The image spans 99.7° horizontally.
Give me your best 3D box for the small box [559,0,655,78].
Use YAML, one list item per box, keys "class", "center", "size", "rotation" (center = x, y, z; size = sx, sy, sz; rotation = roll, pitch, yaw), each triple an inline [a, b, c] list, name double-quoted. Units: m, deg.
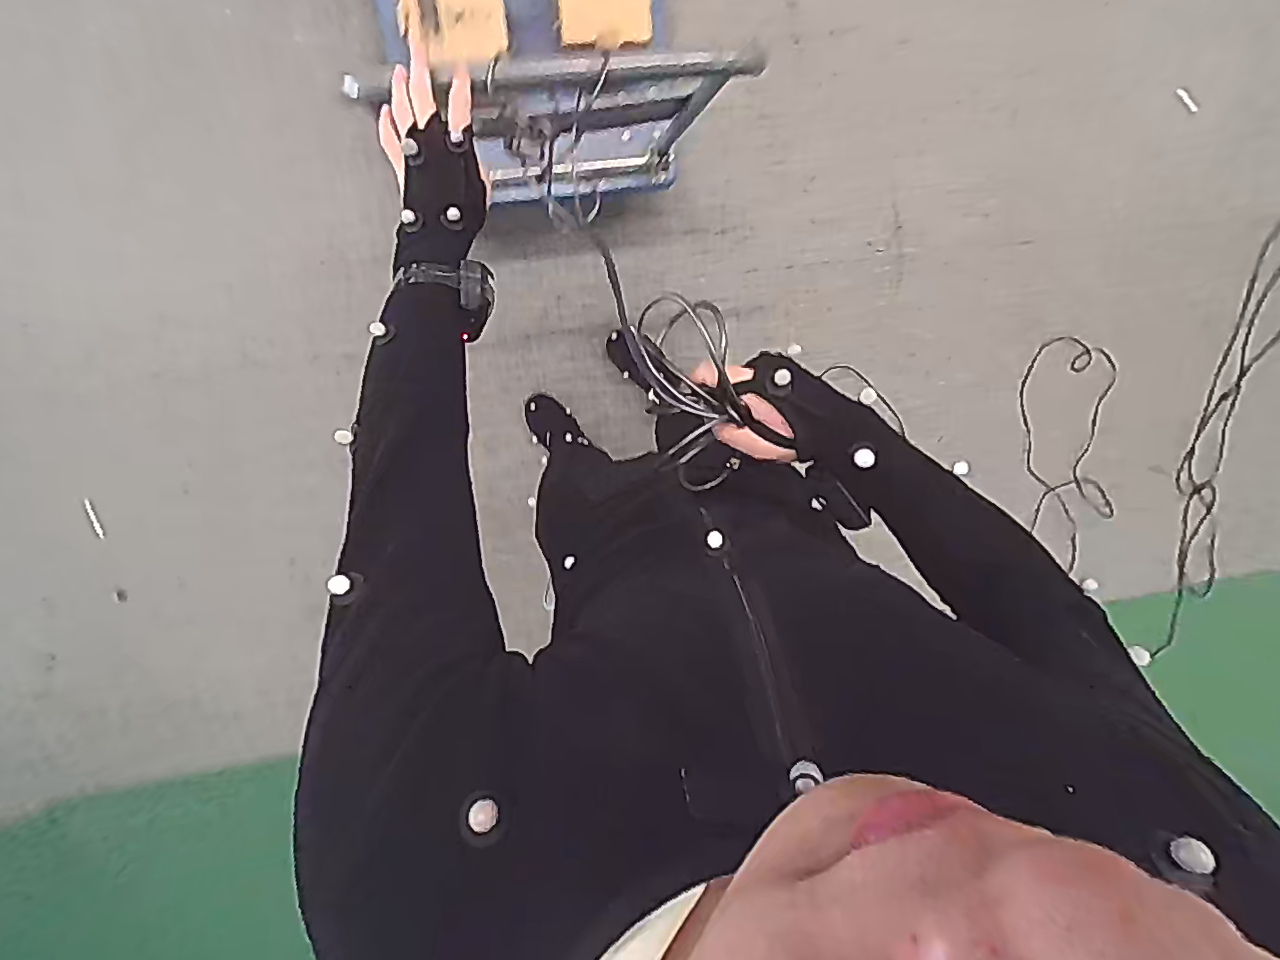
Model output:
- class: "small box"
  center: [-0.070, -0.917, 1.049]
  size: [0.168, 0.176, 0.179]
  rotation: [-7, 109, -6]
